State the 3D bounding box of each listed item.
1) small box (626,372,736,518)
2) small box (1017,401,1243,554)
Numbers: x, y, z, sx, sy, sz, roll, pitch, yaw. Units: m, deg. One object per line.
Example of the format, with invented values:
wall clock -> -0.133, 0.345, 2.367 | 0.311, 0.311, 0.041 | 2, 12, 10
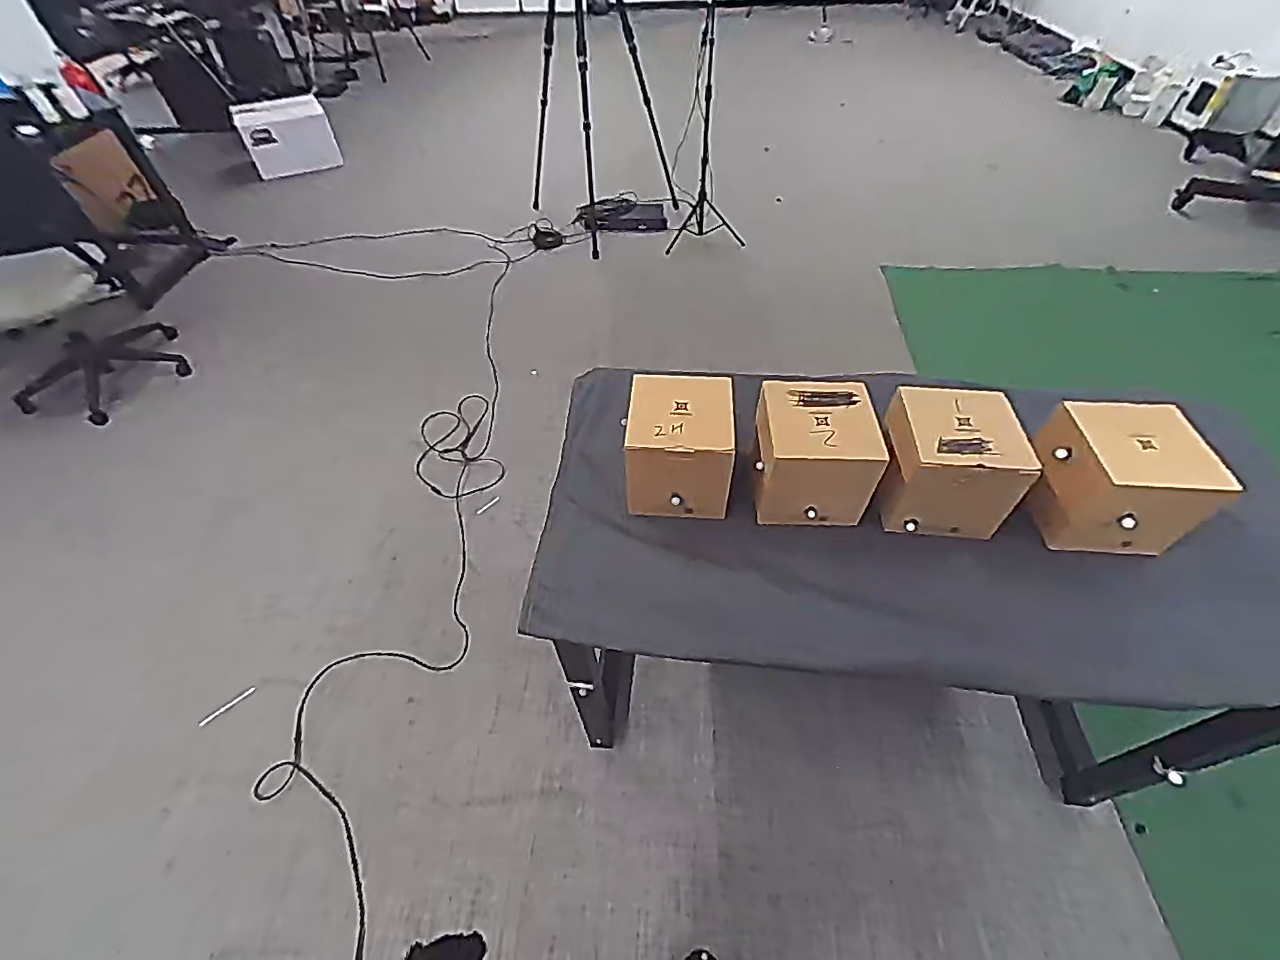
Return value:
small box -> 0.068, -0.059, 0.907 | 0.168, 0.176, 0.179 | 3, 50, 4
small box -> 0.734, -0.001, 0.839 | 0.168, 0.176, 0.179 | 3, 49, 5
